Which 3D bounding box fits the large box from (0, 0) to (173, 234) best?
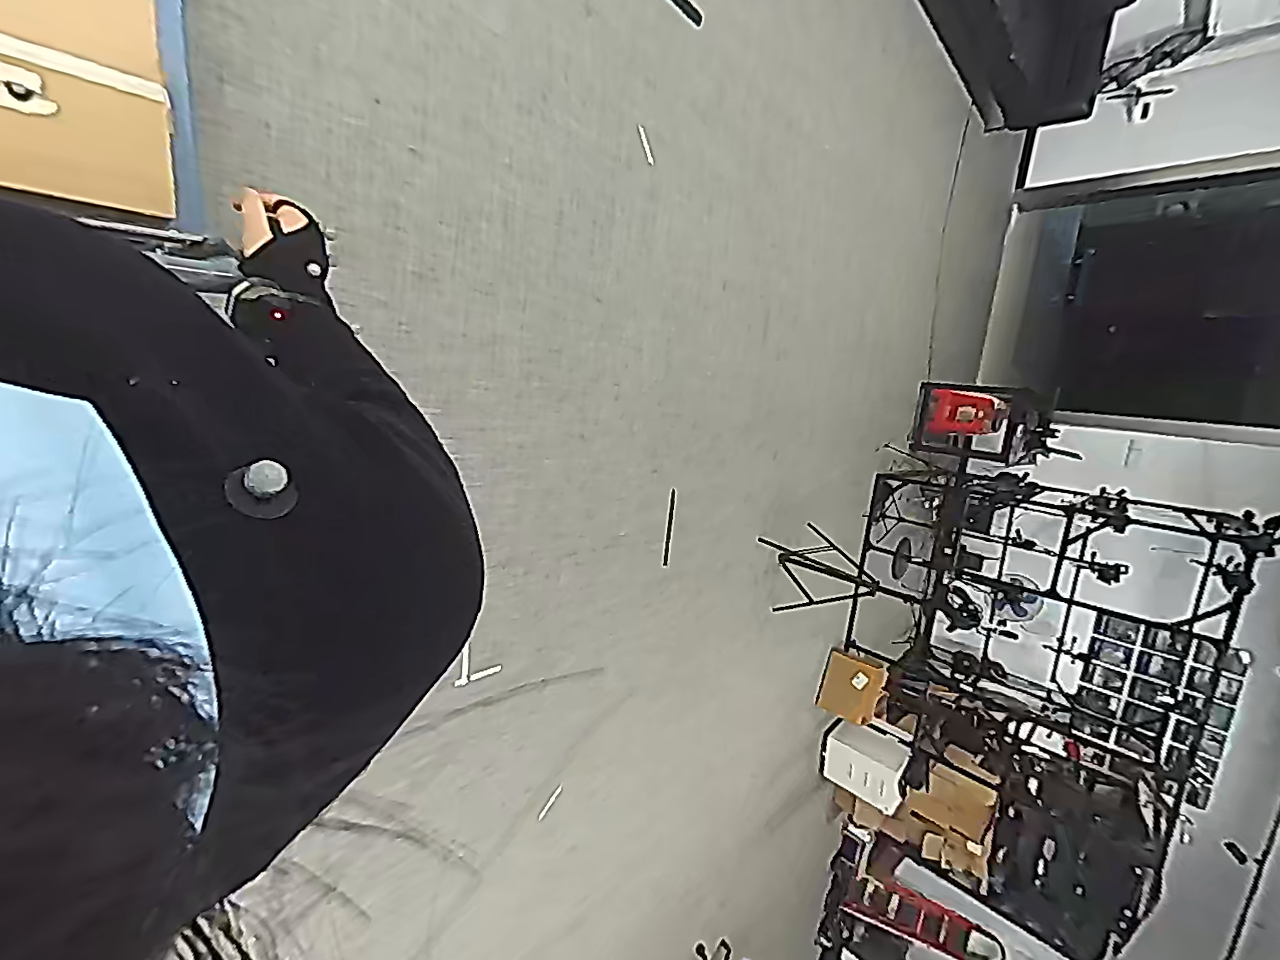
[{"bbox_3d":[-0.897,-0.534,0.689,0.408,0.320,0.320,-8,108,-47],"label":"large box"}]
